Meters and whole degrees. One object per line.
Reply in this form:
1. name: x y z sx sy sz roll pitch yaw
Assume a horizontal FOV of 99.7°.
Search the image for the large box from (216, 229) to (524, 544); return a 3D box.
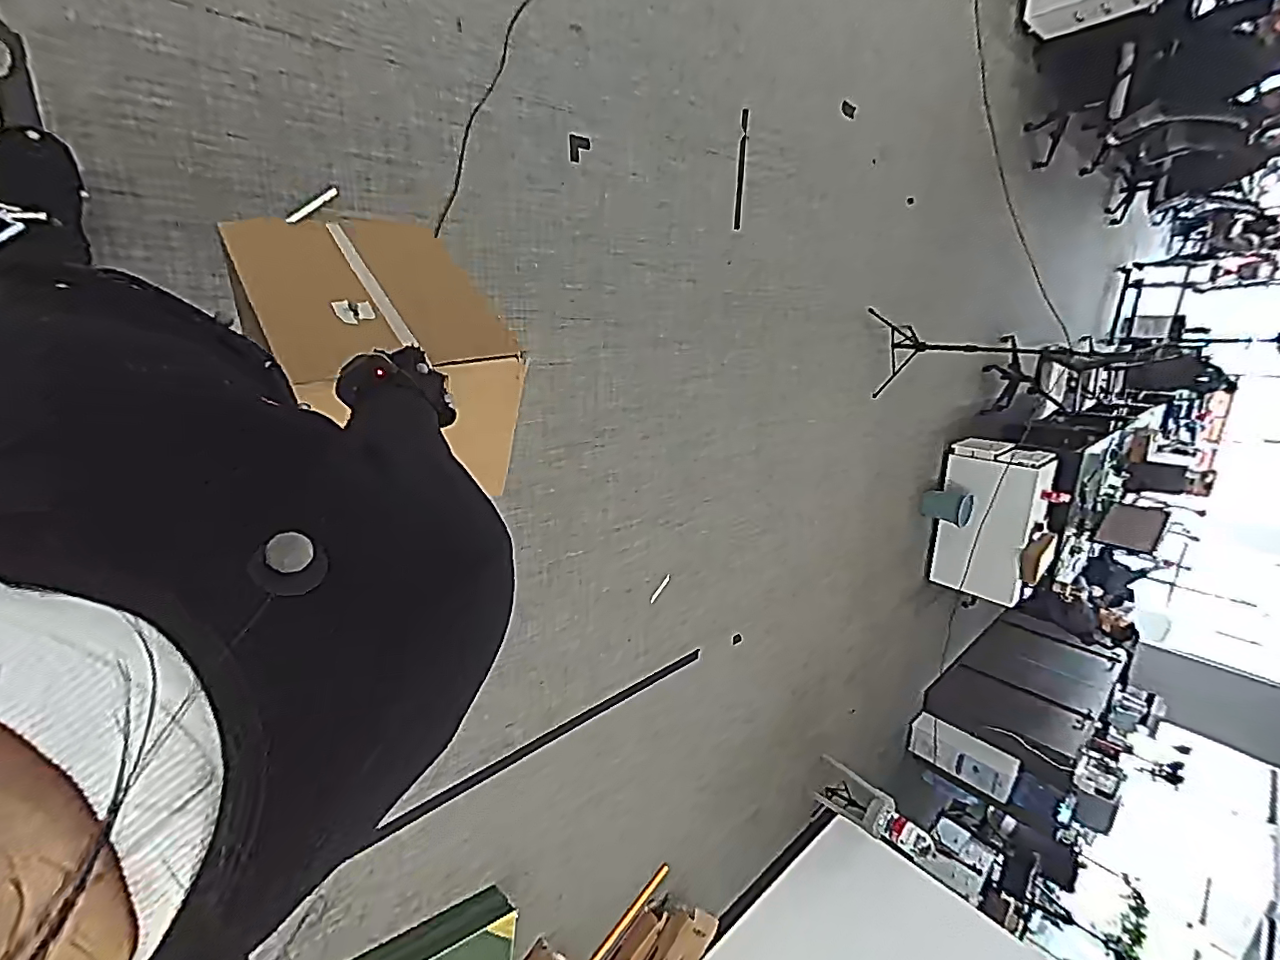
1. large box: -0.448 -0.170 0.907 0.320 0.408 0.320 -19 147 -36
